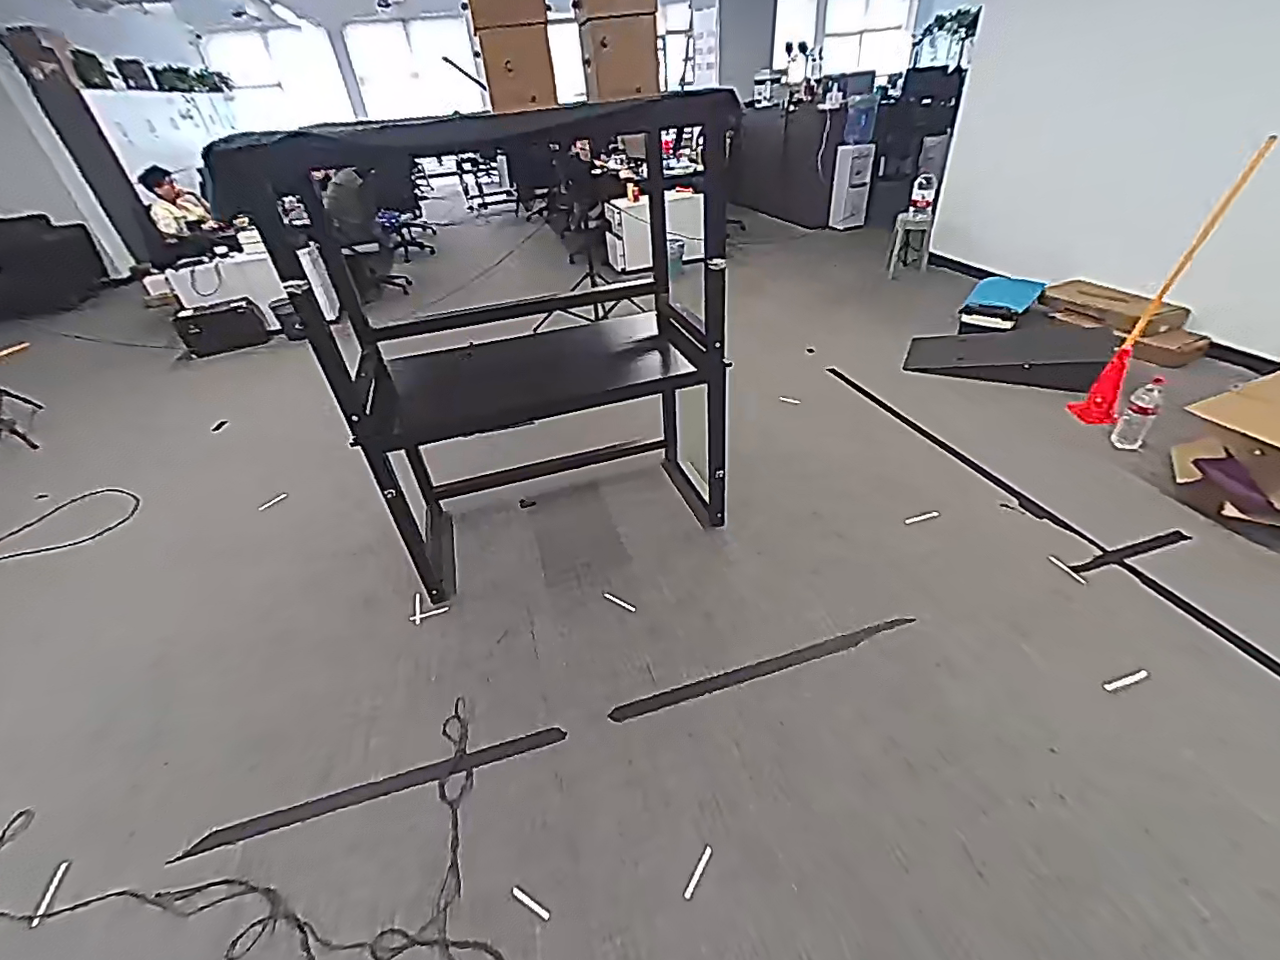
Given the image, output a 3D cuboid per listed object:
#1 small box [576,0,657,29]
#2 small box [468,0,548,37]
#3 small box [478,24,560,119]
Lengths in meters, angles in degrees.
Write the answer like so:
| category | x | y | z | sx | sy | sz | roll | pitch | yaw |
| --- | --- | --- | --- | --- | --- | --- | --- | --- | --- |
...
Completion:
| category | x | y | z | sx | sy | sz | roll | pitch | yaw |
| --- | --- | --- | --- | --- | --- | --- | --- | --- | --- |
| small box | -0.062 | -1.199 | 1.290 | 0.179 | 0.176 | 0.168 | -14 | 35 | -9 |
| small box | -0.315 | -1.145 | 1.253 | 0.179 | 0.176 | 0.168 | -13 | 35 | -7 |
| small box | -0.301 | -1.017 | 1.355 | 0.168 | 0.176 | 0.179 | -12 | 35 | -8 |
